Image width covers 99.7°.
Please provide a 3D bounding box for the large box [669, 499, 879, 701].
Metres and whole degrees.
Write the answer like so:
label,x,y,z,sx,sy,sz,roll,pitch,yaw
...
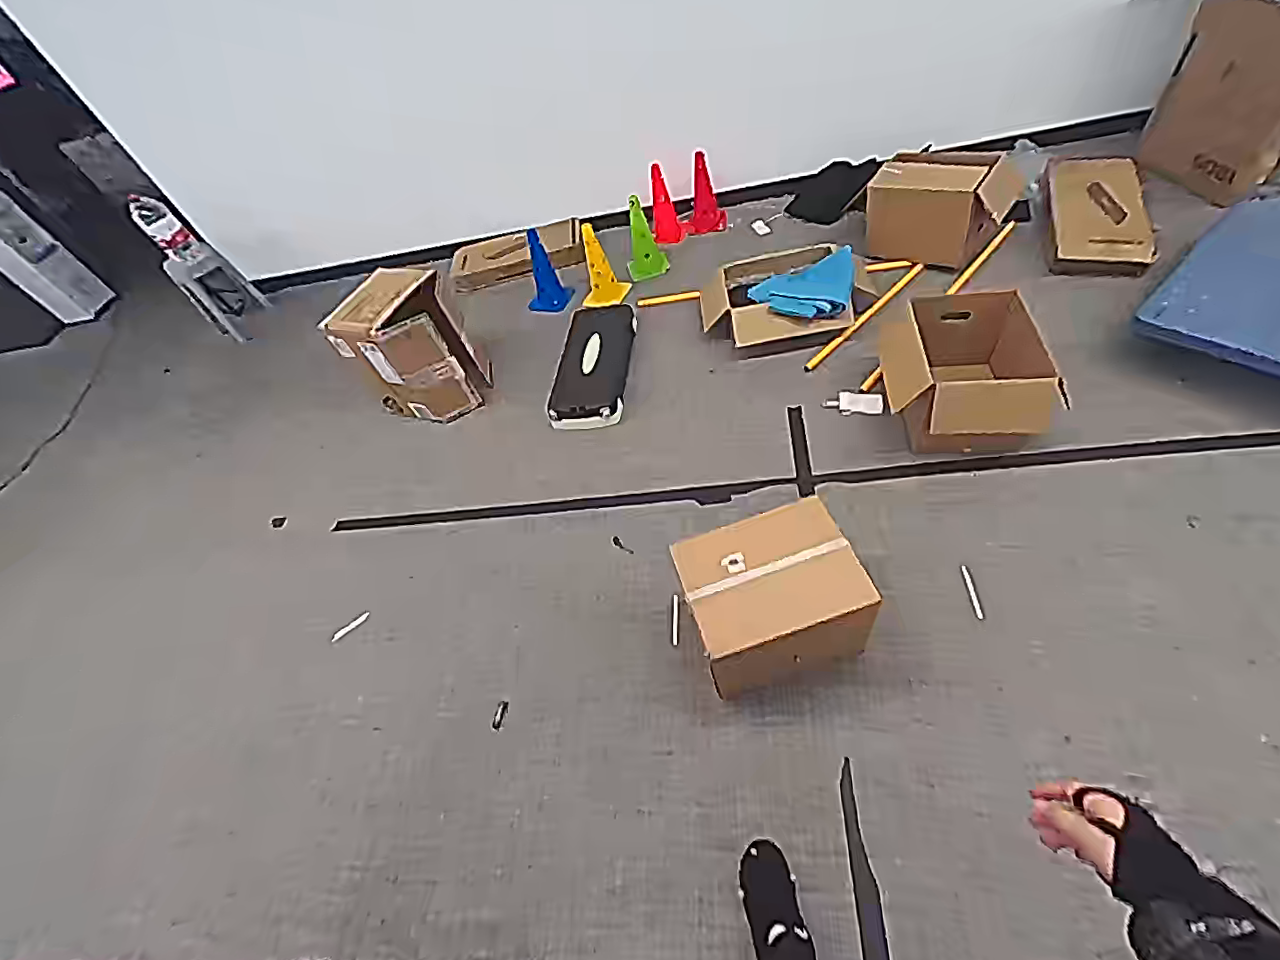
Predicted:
label,x,y,z,sx,sy,sz,roll,pitch,yaw
large box,0.332,0.312,1.383,0.408,0.320,0.320,-20,50,0
